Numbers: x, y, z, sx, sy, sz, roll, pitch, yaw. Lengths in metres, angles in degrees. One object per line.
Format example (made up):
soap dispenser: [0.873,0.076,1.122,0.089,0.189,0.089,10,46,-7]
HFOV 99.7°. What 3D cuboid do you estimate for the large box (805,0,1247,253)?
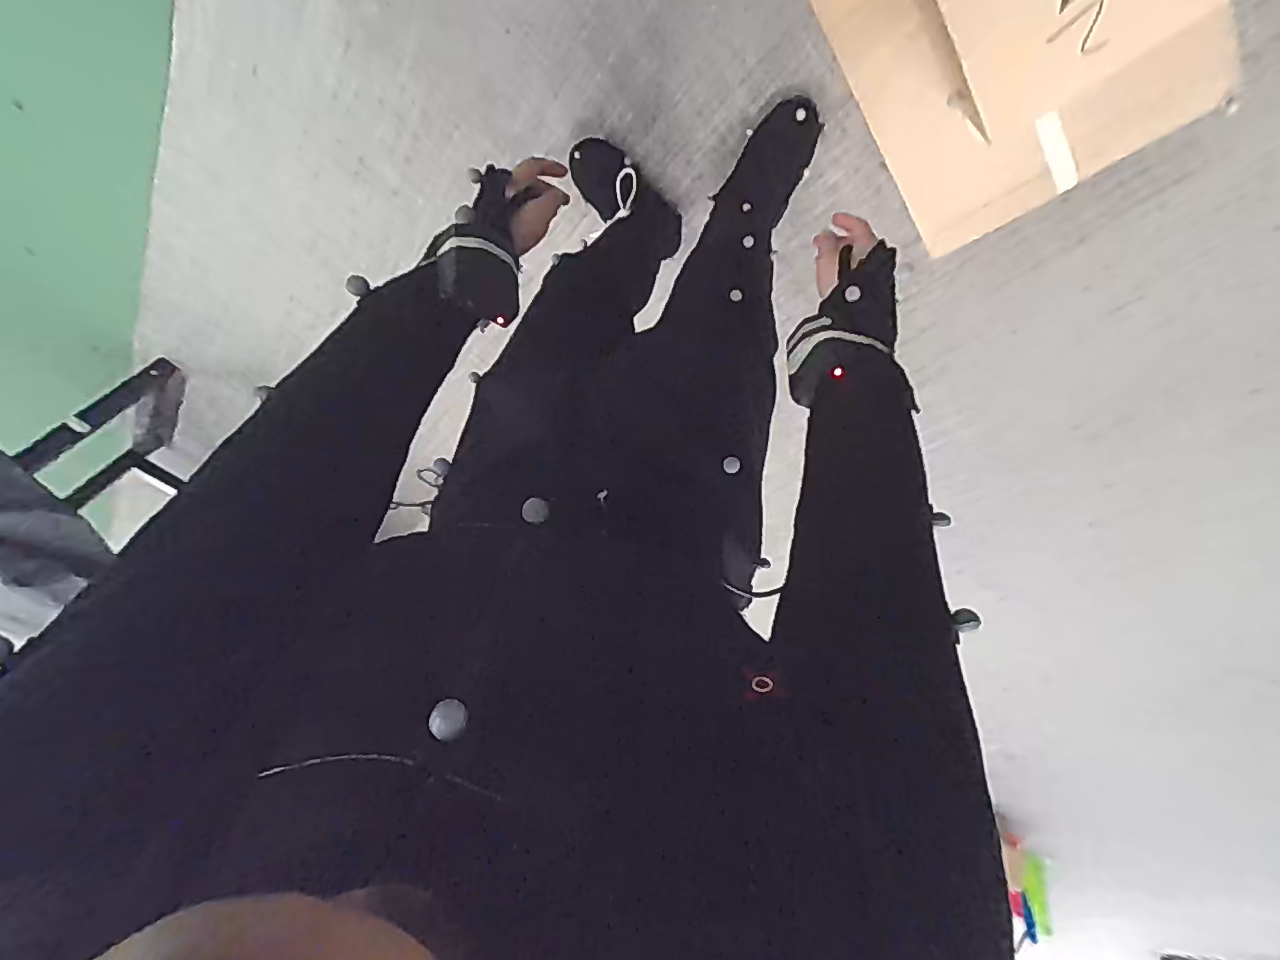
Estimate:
large box: [0.424,-0.588,0.666,0.320,0.320,0.408,-24,124,36]
